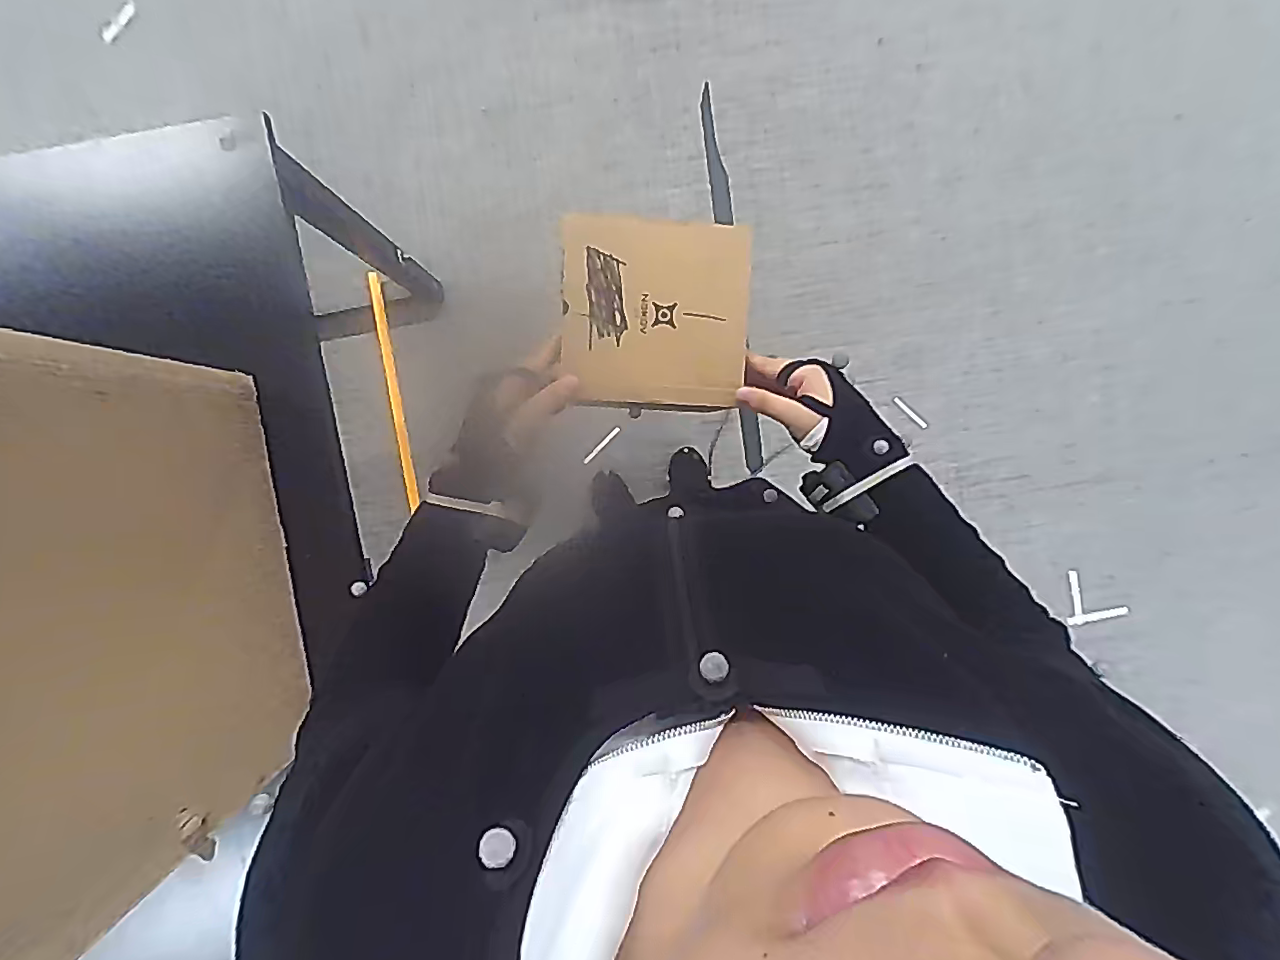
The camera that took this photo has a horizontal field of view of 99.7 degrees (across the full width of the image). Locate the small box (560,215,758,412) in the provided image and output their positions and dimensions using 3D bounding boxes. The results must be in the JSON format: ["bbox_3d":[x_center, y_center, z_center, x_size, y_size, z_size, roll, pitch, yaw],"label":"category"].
[{"bbox_3d":[0.013,-0.160,0.573,0.179,0.176,0.168,2,96,-4],"label":"small box"}]
